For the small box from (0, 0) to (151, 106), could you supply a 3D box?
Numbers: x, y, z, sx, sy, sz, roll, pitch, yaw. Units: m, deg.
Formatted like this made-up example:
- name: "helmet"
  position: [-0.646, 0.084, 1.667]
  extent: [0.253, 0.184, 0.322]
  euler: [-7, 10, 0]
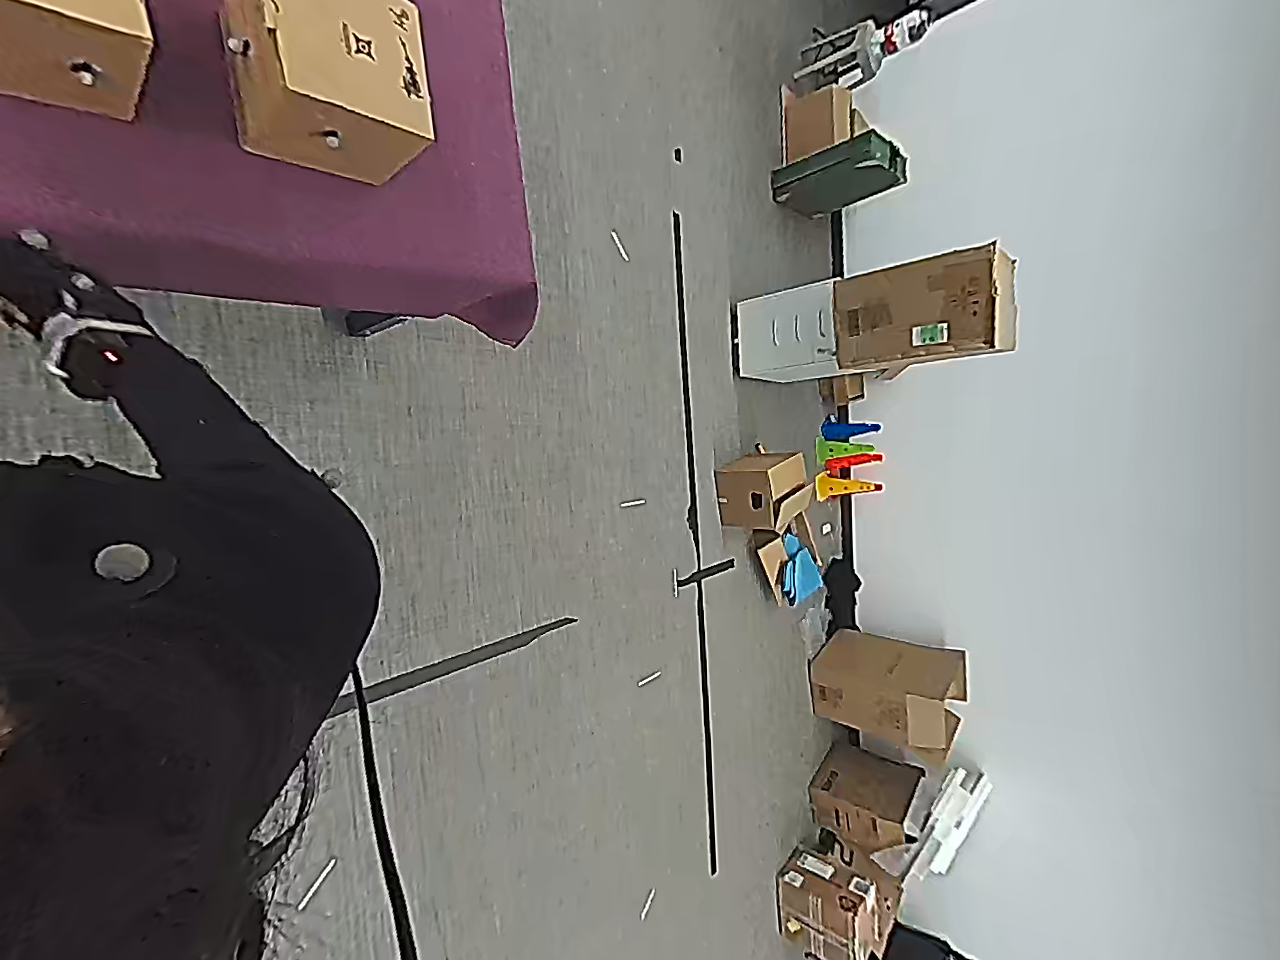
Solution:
- name: "small box"
  position: [-0.576, -0.466, 0.472]
  extent: [0.179, 0.176, 0.168]
  euler: [-19, 103, -47]

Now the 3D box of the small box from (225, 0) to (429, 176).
- name: "small box"
  position: [-0.396, -0.513, 0.681]
  extent: [0.179, 0.176, 0.168]
  euler: [-12, 99, -48]
